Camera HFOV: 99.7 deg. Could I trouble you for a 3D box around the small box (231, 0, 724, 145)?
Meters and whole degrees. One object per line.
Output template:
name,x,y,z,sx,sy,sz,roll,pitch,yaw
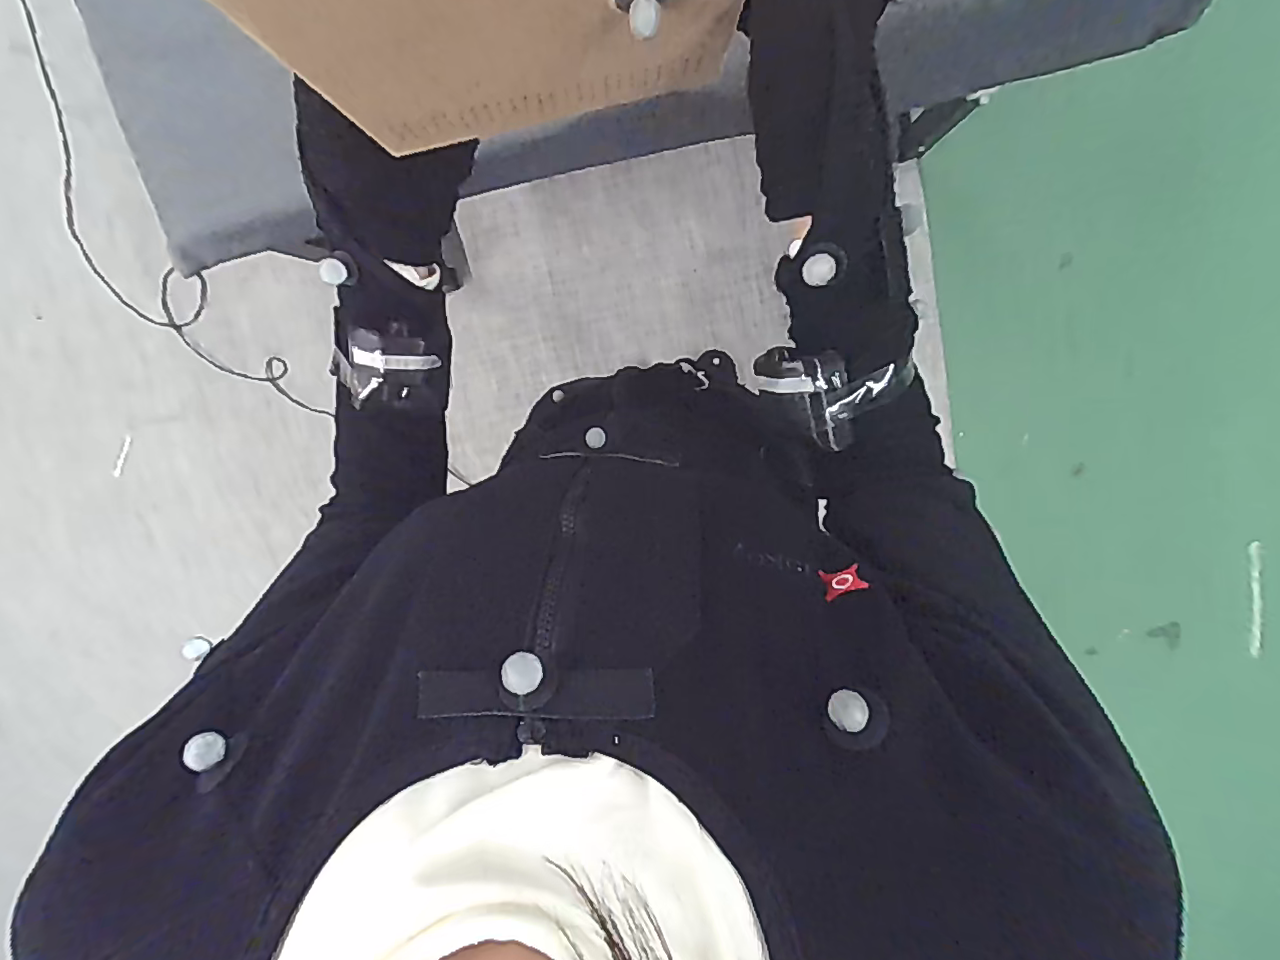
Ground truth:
small box,-0.060,-0.251,0.189,0.179,0.176,0.168,-13,102,3
